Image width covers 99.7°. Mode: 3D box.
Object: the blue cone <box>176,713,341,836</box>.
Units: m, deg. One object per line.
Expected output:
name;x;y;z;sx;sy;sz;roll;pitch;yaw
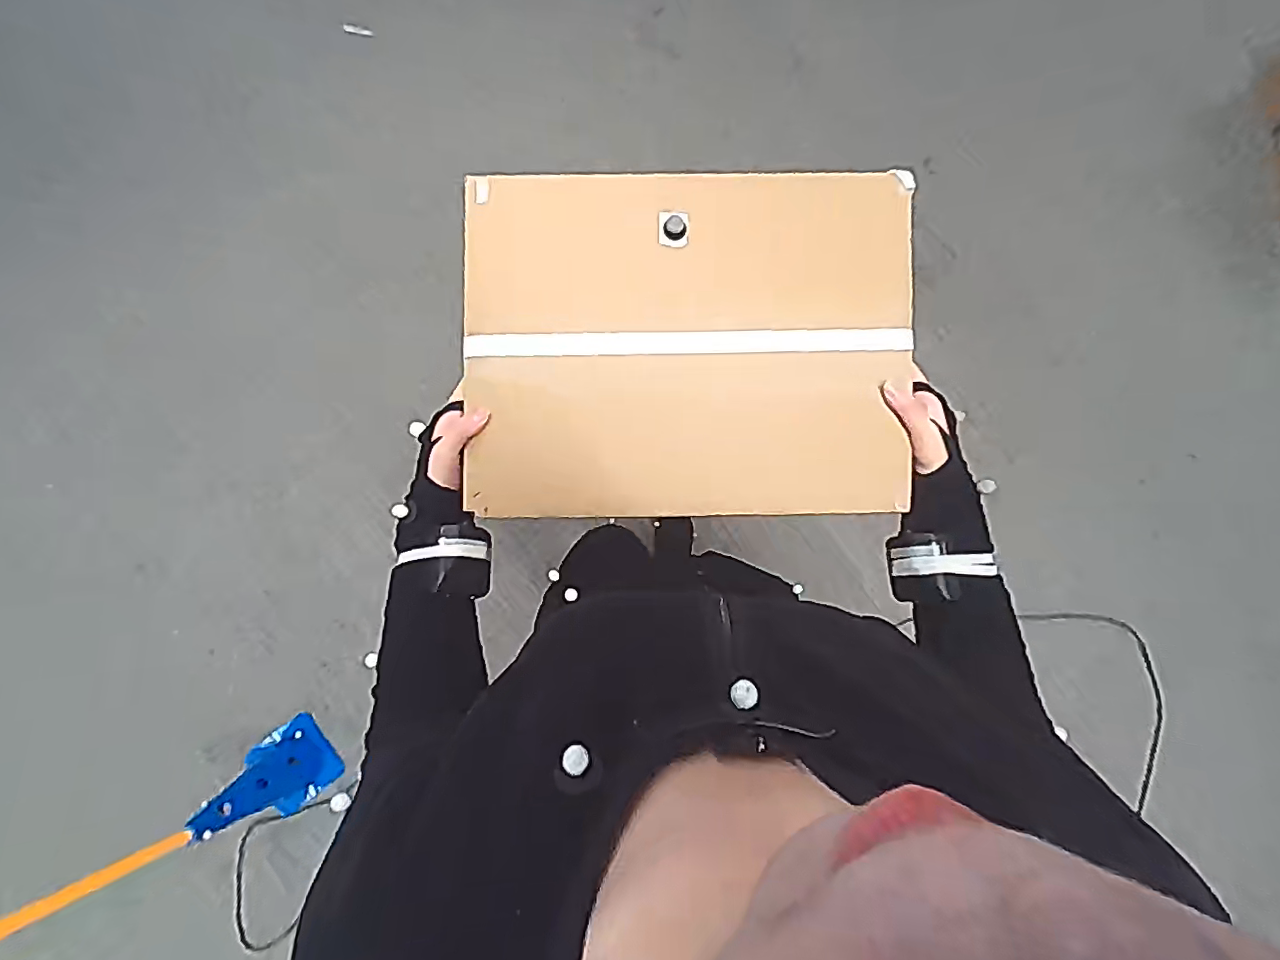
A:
blue cone;-0.896;0.706;1.236;0.192;0.380;0.193;-39;85;-5
